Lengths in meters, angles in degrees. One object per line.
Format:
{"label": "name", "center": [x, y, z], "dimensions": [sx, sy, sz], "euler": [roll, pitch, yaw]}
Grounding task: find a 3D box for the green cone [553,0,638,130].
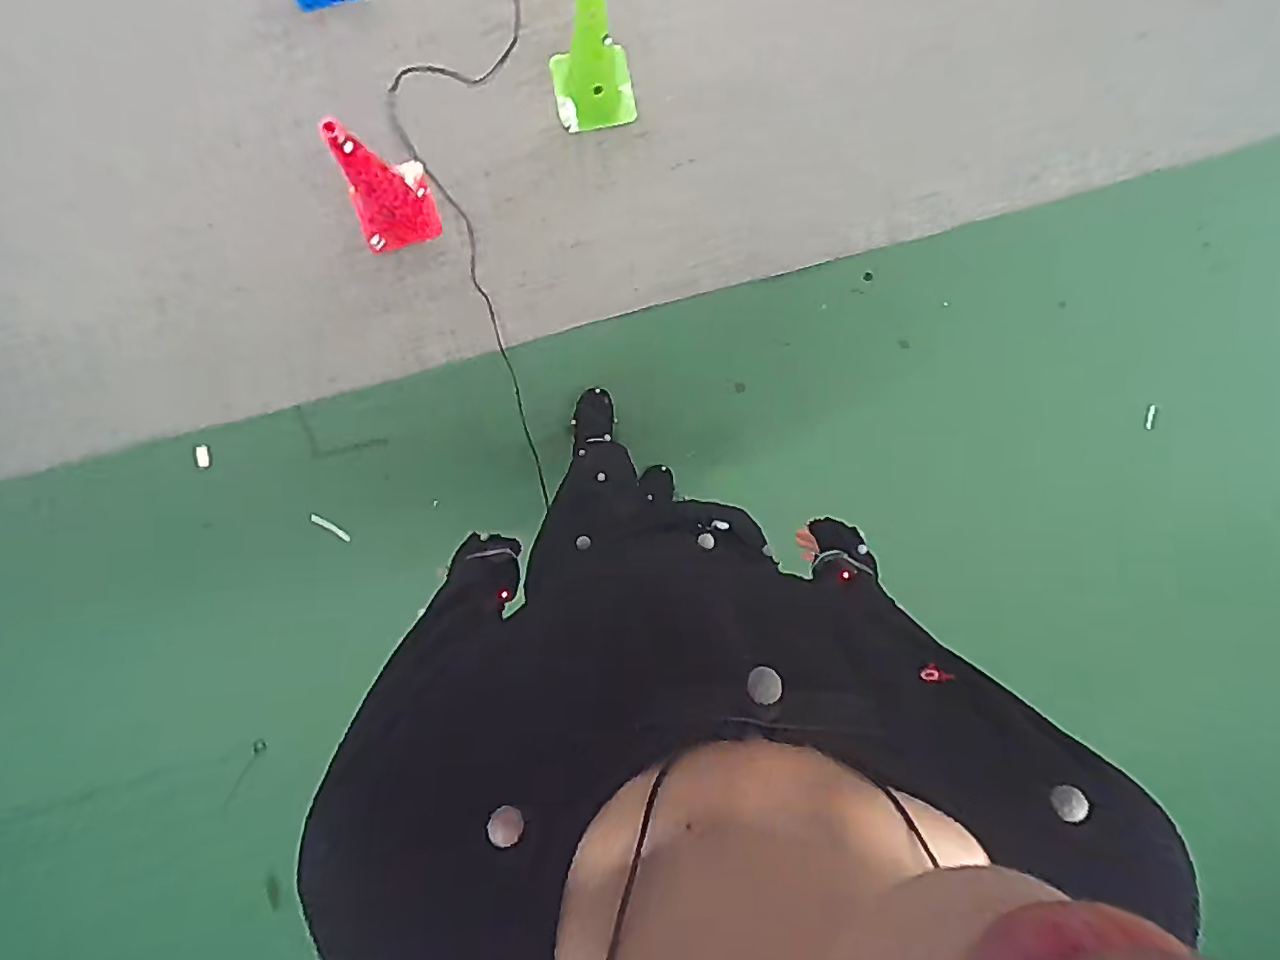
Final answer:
{"label": "green cone", "center": [-0.103, -1.036, 1.264], "dimensions": [0.200, 0.368, 0.202], "euler": [-13, 93, -3]}
